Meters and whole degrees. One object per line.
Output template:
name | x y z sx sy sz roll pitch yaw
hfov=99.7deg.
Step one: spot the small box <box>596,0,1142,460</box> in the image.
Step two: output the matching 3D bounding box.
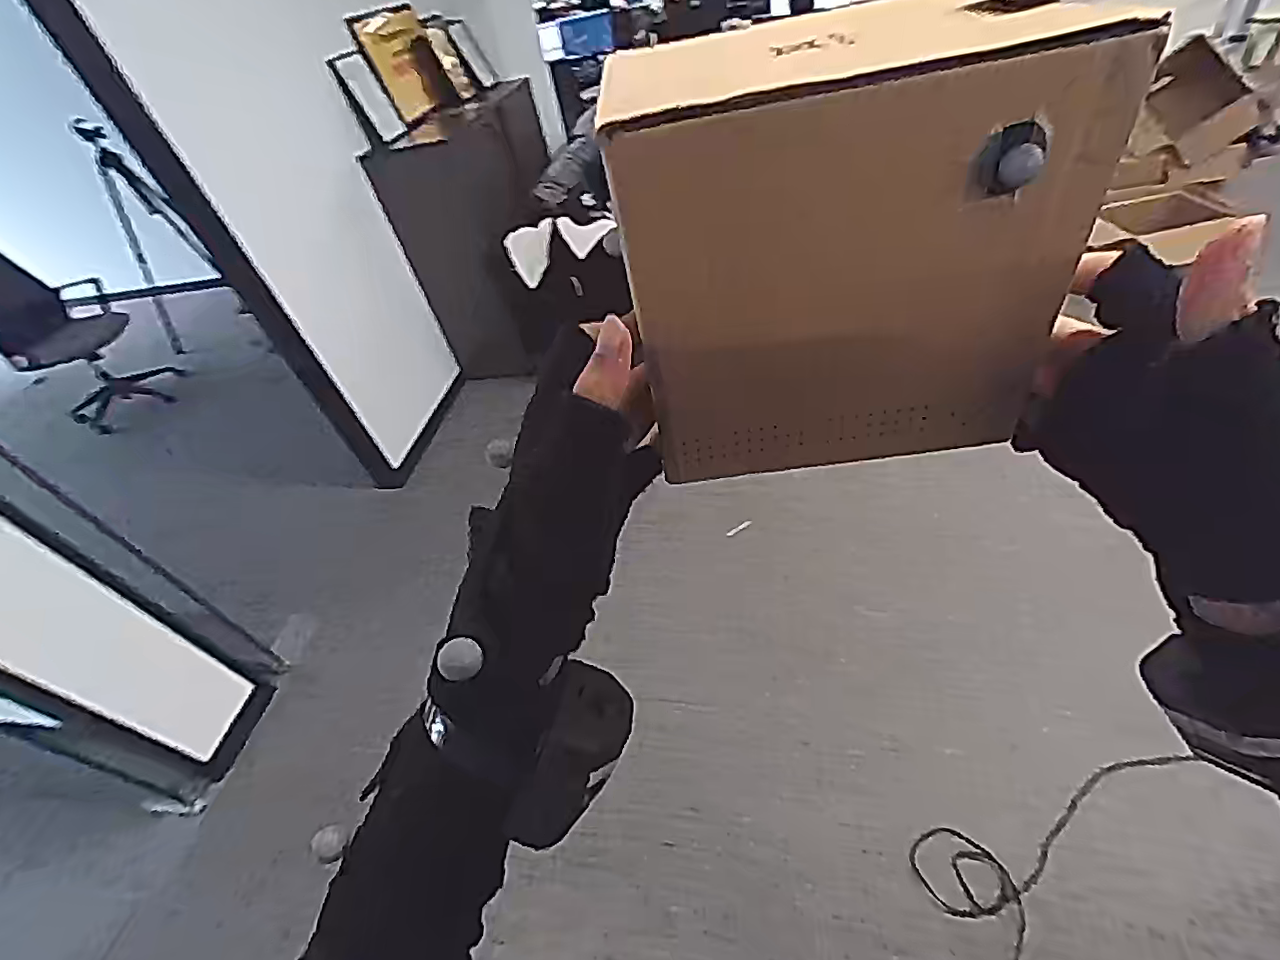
small box | 0.083 -0.126 0.285 0.179 0.176 0.168 -6 44 6
